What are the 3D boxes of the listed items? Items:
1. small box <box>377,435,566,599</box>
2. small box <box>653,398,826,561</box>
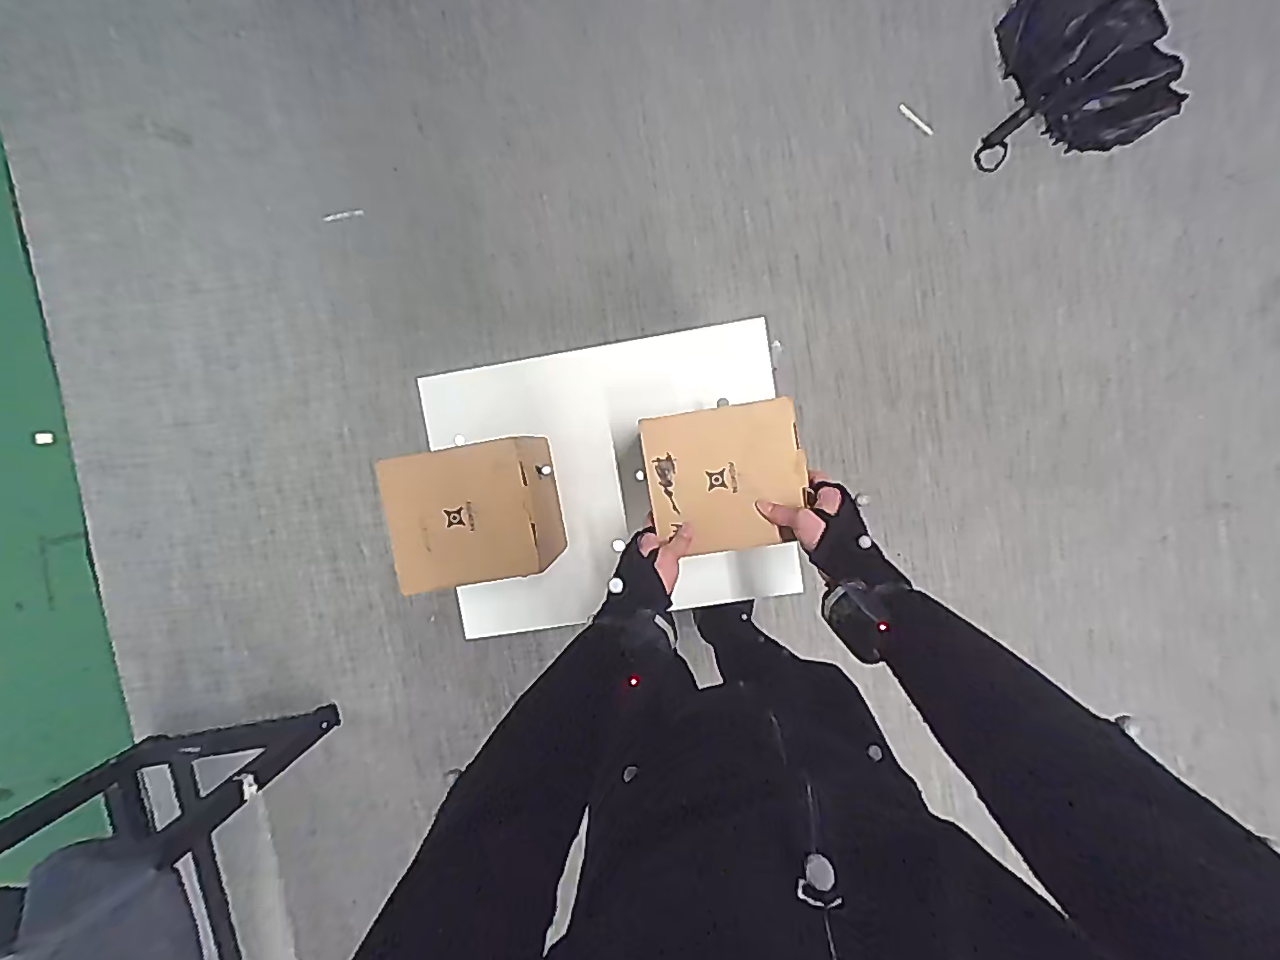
[{"bbox_3d":[-0.197,0.039,0.687,0.179,0.176,0.168,-10,91,2],"label":"small box"},{"bbox_3d":[0.113,-0.005,0.676,0.179,0.176,0.168,-8,92,2],"label":"small box"}]
